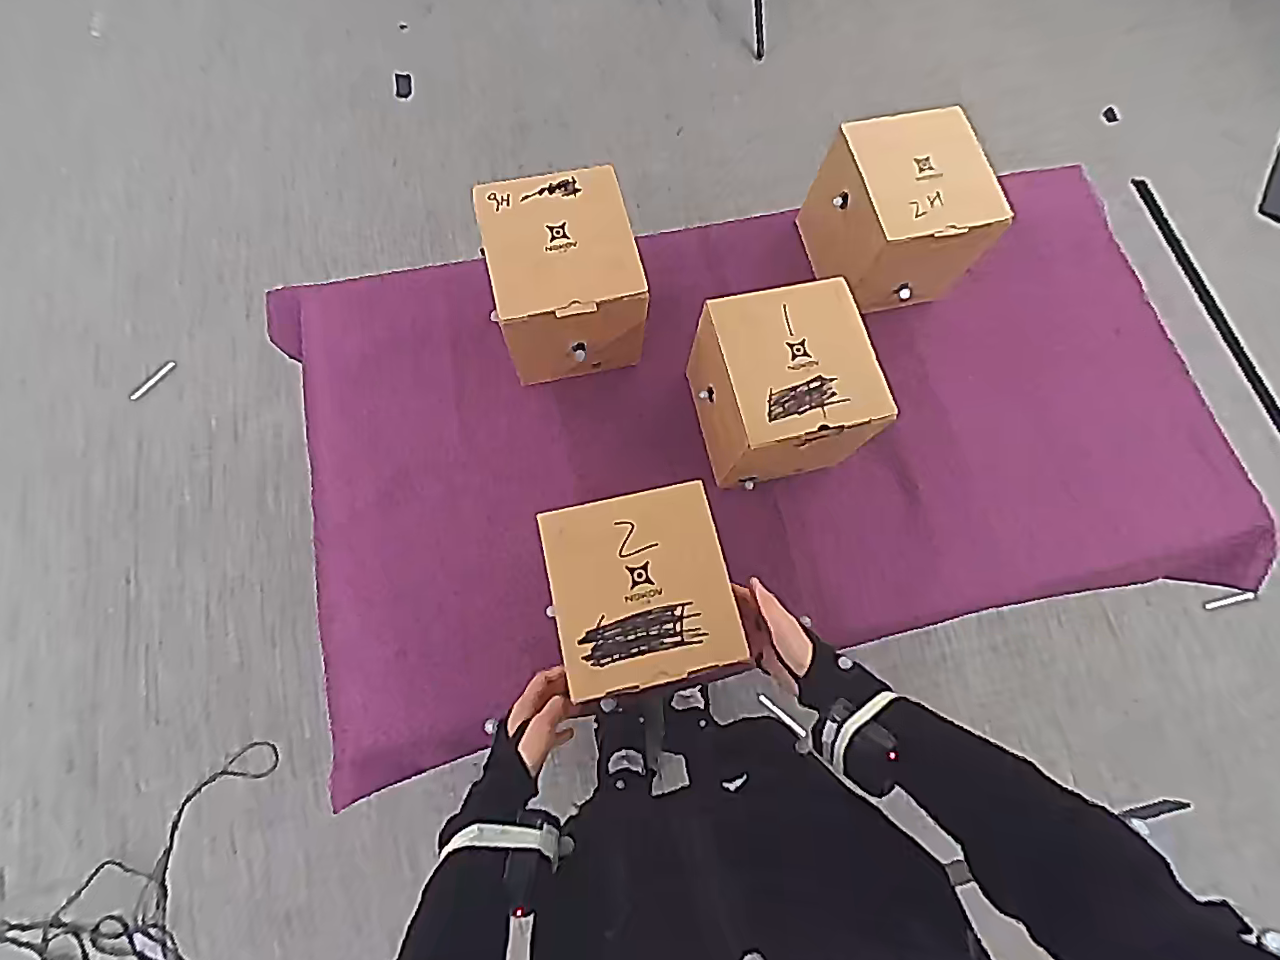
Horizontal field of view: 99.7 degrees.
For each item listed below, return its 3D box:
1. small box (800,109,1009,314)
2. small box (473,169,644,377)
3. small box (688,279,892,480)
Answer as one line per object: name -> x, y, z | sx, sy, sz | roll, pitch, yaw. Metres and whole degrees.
small box -> 0.337, -0.350, 0.730 | 0.168, 0.176, 0.179 | -12, 76, -6
small box -> -0.095, -0.243, 0.677 | 0.168, 0.176, 0.179 | -13, 77, -7
small box -> 0.164, -0.108, 0.655 | 0.168, 0.176, 0.179 | -12, 74, -6
